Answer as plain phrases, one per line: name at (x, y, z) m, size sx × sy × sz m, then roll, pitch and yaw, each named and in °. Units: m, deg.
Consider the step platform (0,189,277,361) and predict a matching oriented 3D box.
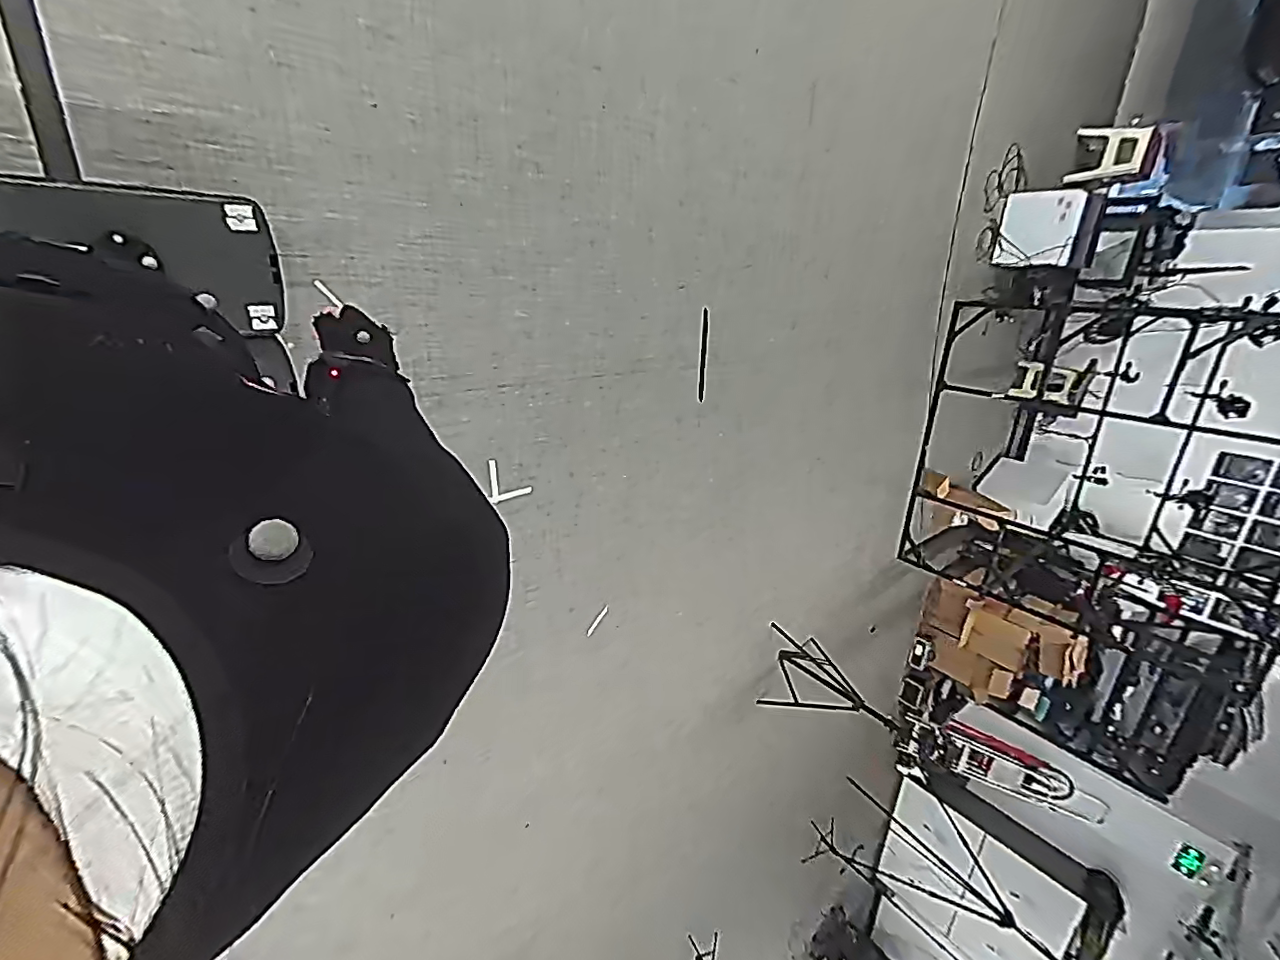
step platform at (-1.101, -0.387, 1.025) m, size 0.684 × 0.204 × 0.286 m, roll -16°, pitch 118°, yaw -38°
